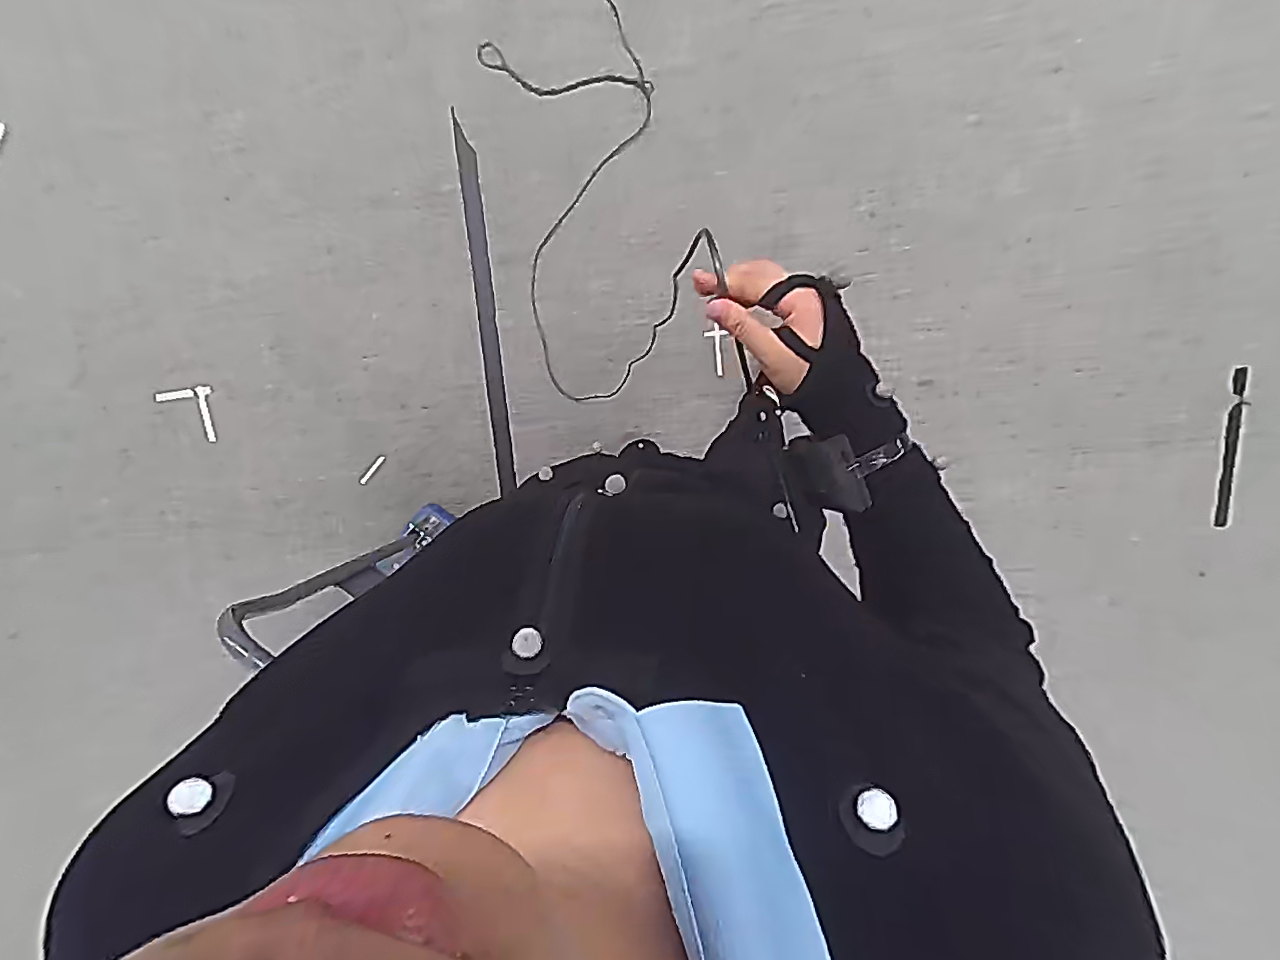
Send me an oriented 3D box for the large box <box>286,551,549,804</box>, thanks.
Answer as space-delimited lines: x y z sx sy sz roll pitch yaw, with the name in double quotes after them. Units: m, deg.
-0.489 0.437 1.268 0.408 0.320 0.320 39 100 -2 "large box"
